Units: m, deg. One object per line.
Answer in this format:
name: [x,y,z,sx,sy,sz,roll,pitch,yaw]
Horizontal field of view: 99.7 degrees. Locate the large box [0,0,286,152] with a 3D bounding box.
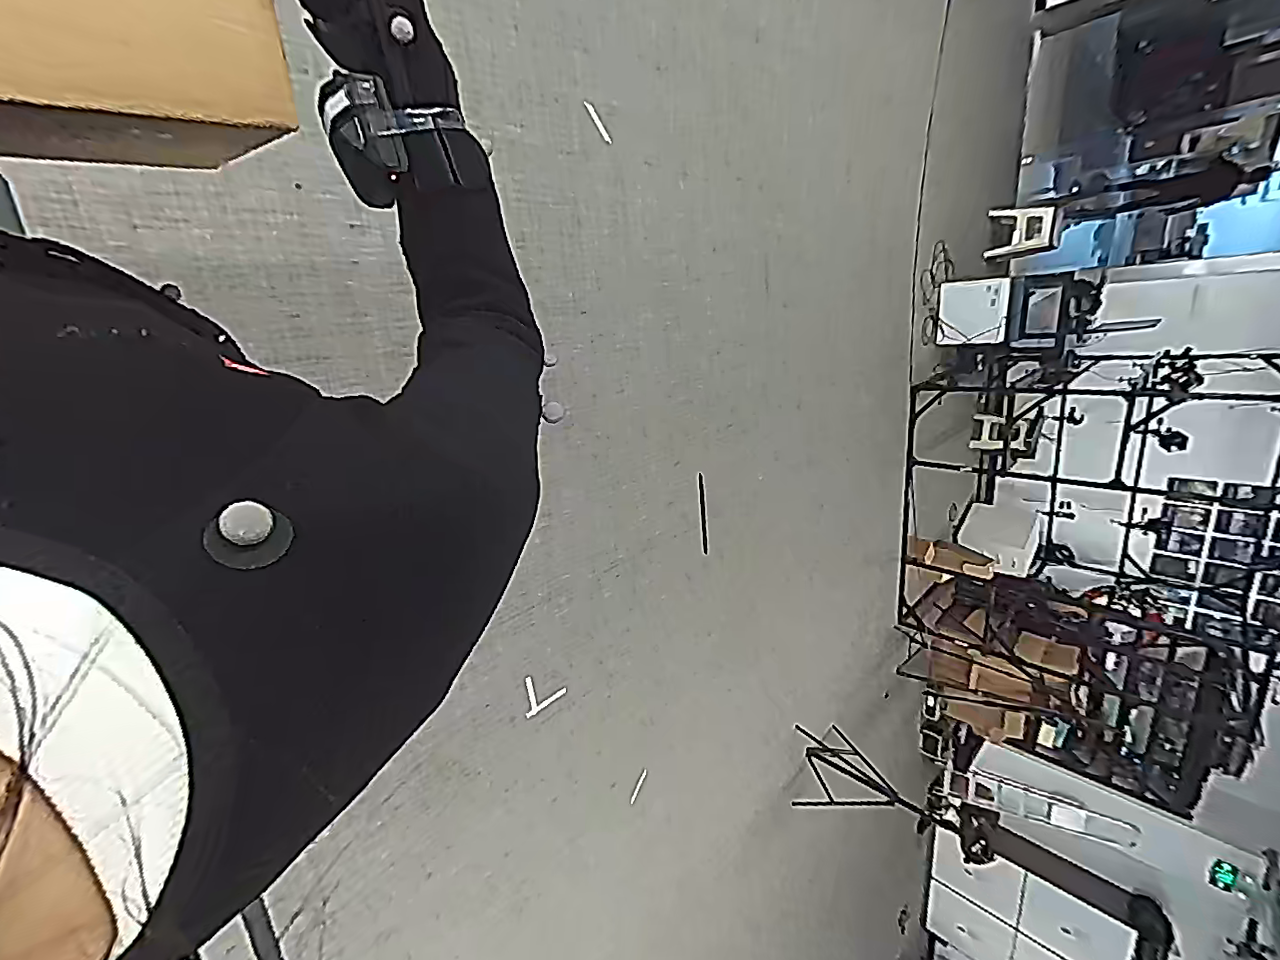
large box: [-0.477,-0.360,0.260,0.408,0.320,0.320,-23,125,-40]
